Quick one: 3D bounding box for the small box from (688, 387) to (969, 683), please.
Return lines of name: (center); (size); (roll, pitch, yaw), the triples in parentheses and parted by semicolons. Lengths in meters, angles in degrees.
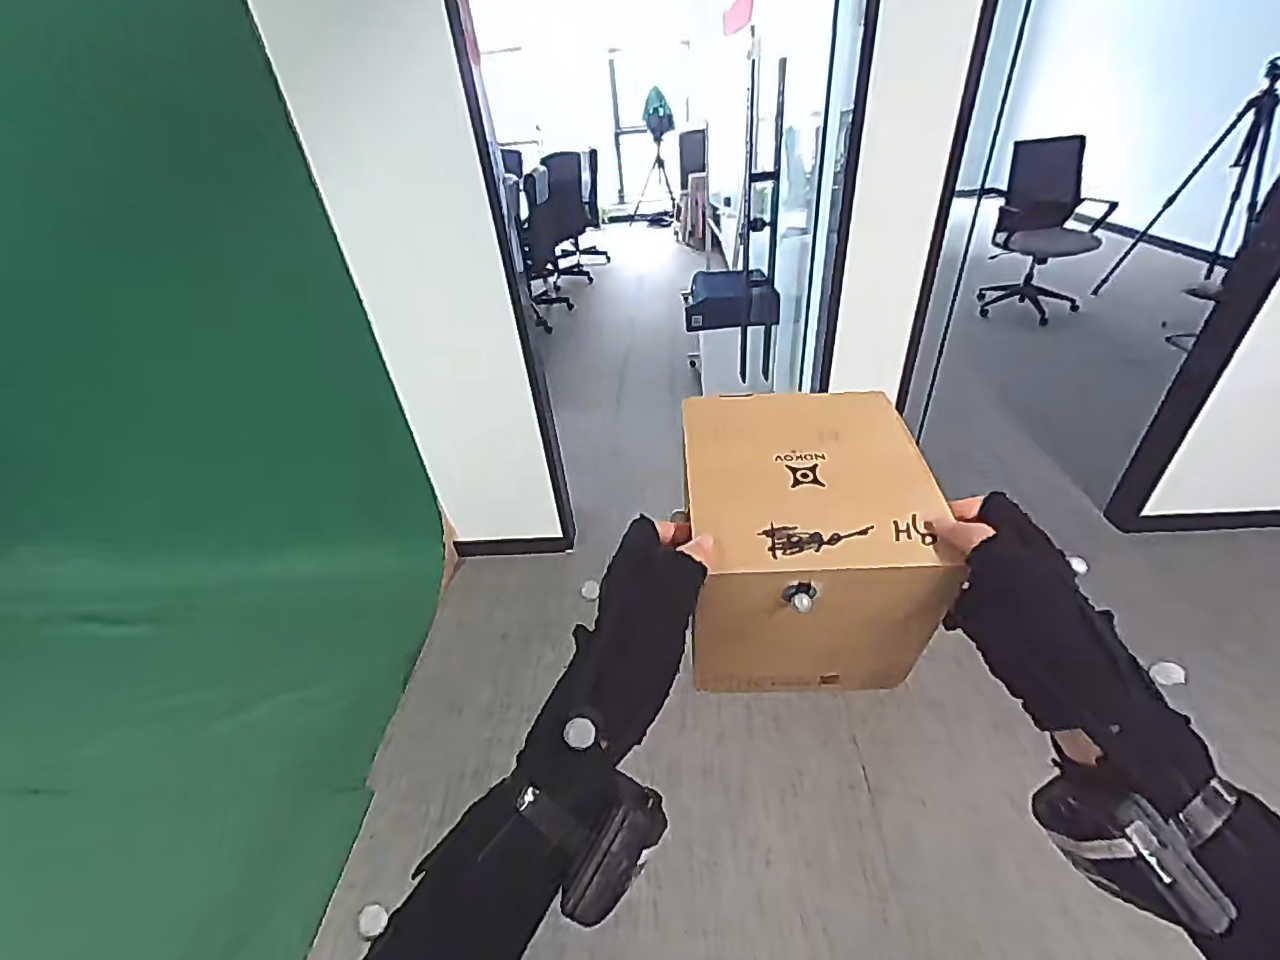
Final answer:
small box: (0.124, 0.045, 0.442); (0.168, 0.176, 0.179); (-3, 44, 4)
